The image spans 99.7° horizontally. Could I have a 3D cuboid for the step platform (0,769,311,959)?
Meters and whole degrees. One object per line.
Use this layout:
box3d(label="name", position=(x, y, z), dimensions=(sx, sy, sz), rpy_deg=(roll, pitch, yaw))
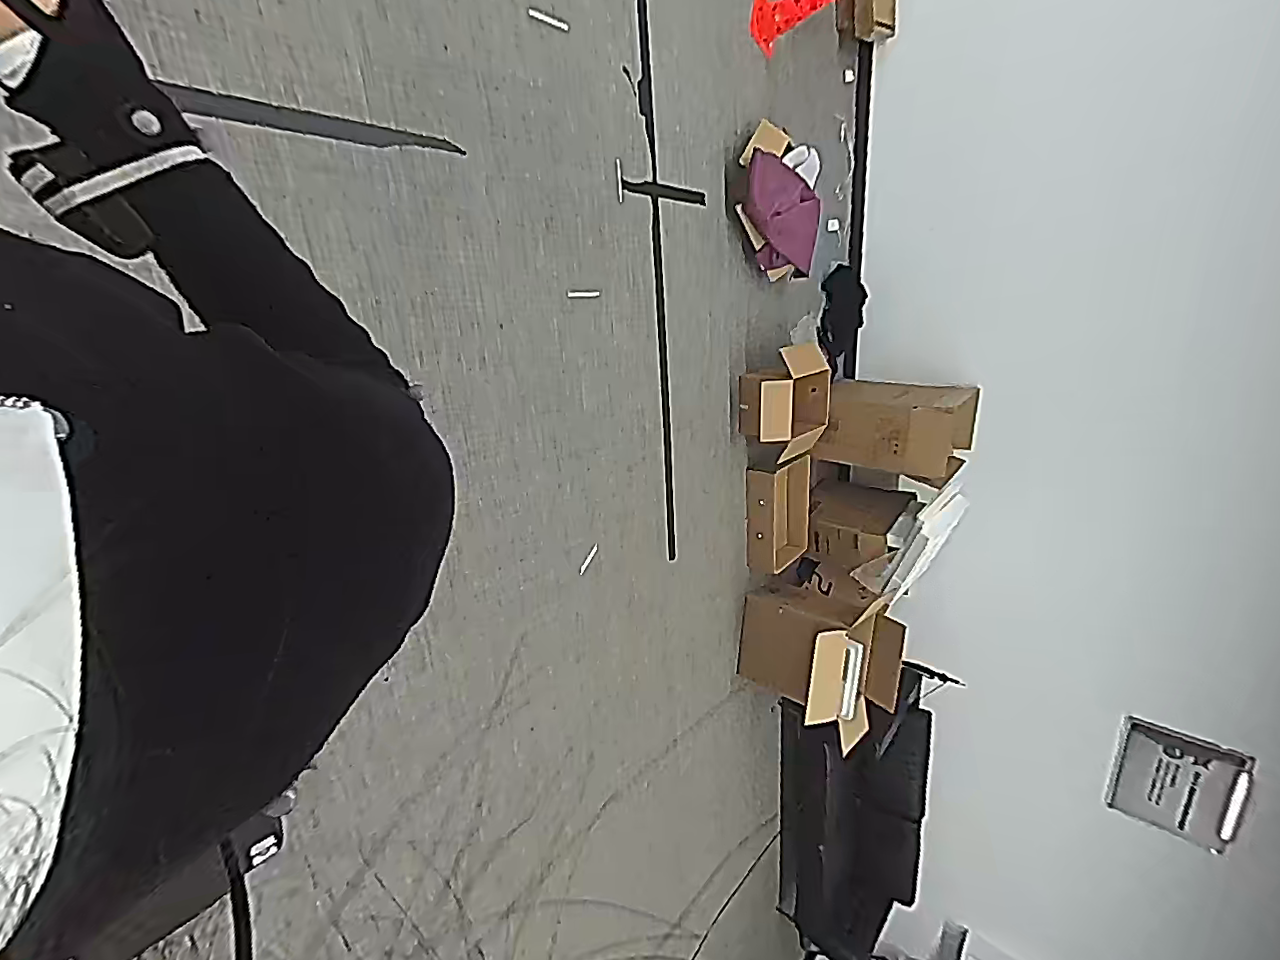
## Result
box3d(label="step platform", position=(-0.992, 0.847, 0.943), dimensions=(0.684, 0.204, 0.286), rpy_deg=(-24, 117, -43))
